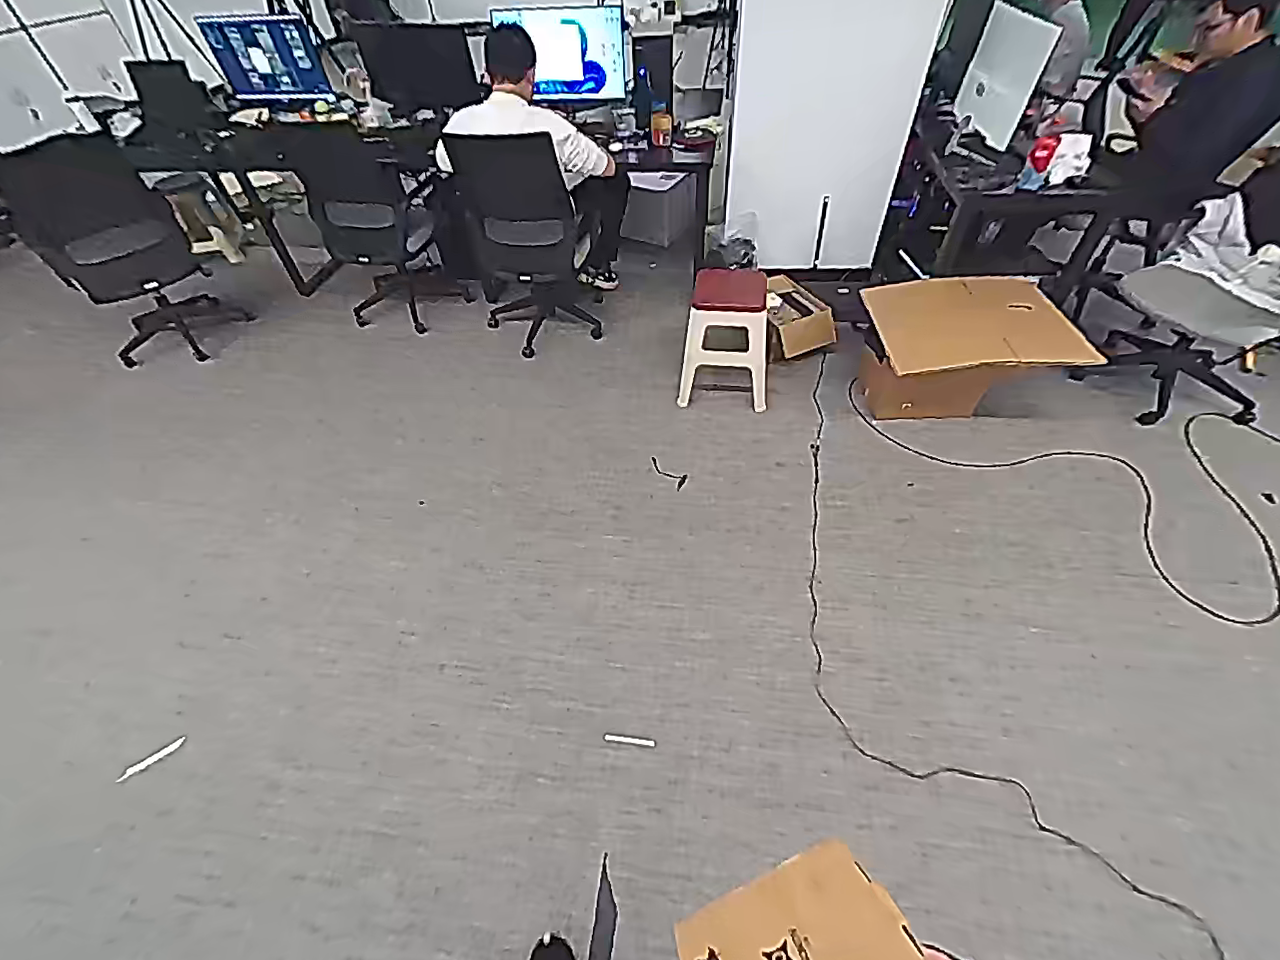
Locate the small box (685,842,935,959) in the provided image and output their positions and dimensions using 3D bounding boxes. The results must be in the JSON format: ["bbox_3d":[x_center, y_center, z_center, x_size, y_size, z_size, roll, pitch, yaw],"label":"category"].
[{"bbox_3d":[0.158,0.452,0.433,0.179,0.168,0.176,-23,90,-6],"label":"small box"}]
